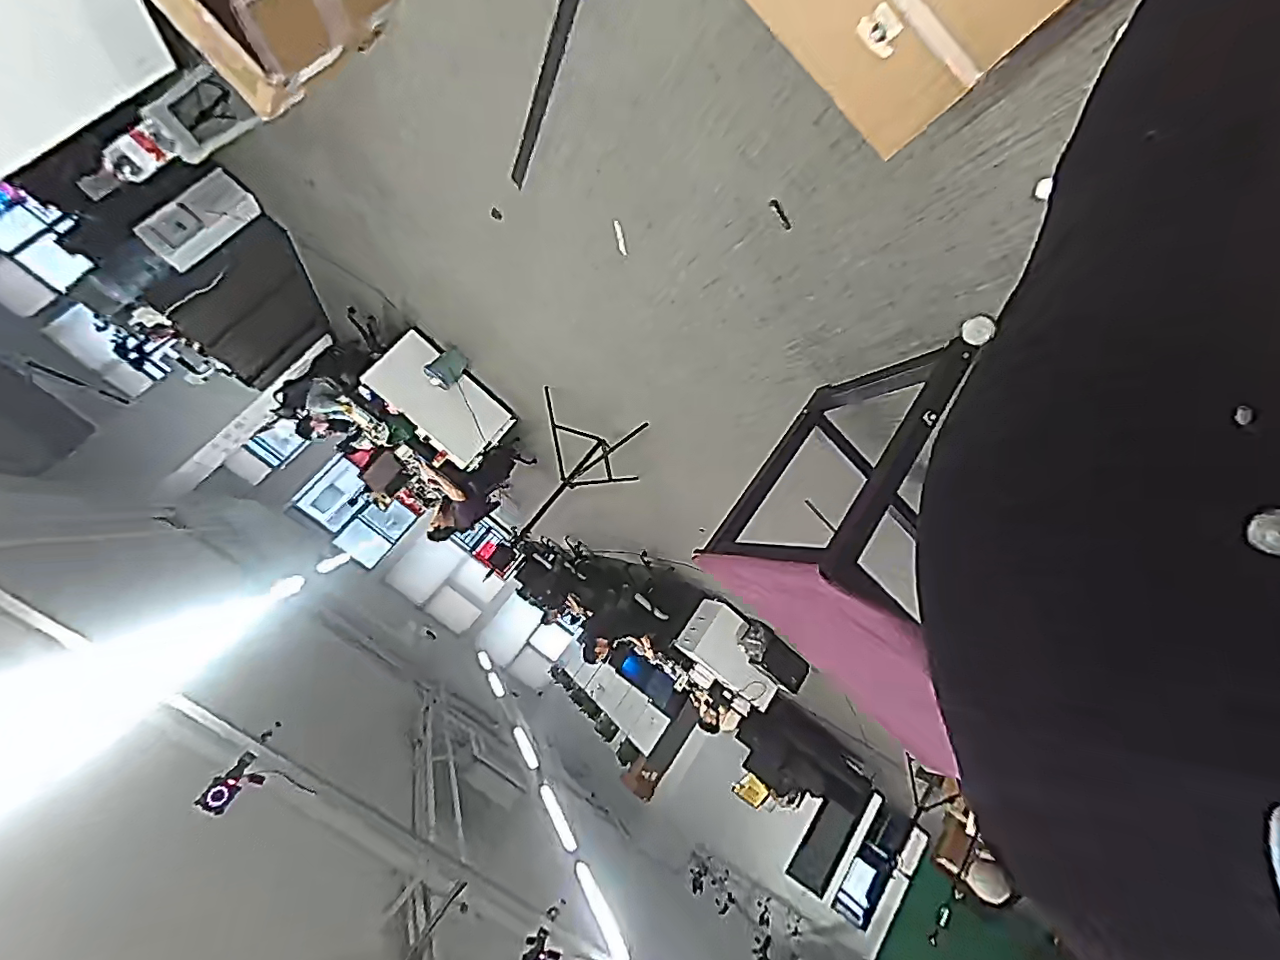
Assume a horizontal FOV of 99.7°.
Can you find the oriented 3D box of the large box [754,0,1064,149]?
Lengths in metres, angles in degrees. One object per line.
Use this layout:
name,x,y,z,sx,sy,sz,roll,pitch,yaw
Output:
large box,0.367,-0.751,0.680,0.408,0.320,0.320,40,164,-10
